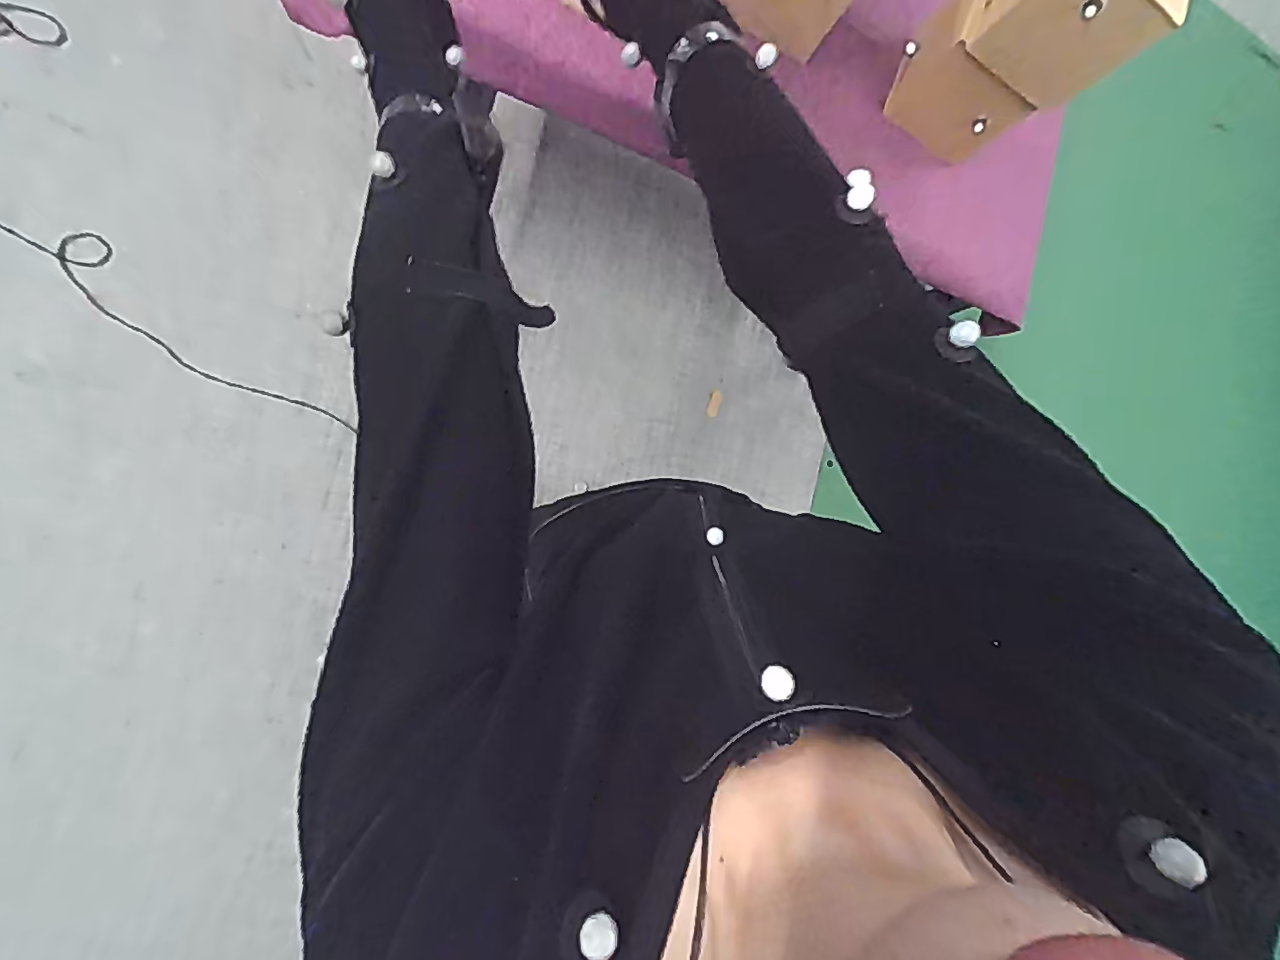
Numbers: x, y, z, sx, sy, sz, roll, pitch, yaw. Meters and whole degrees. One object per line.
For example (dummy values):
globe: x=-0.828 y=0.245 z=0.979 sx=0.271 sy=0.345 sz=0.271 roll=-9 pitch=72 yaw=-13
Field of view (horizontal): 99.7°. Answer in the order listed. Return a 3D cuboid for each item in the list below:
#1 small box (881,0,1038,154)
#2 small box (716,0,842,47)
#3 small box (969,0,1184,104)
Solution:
small box: x=0.541 y=-0.681 z=0.888 sx=0.179 sy=0.176 sz=0.168 roll=25 pitch=81 yaw=-15
small box: x=0.236 y=-0.799 z=0.797 sx=0.179 sy=0.176 sz=0.168 roll=19 pitch=83 yaw=-15
small box: x=0.593 y=-0.667 z=0.733 sx=0.179 sy=0.176 sz=0.168 roll=25 pitch=82 yaw=-16
